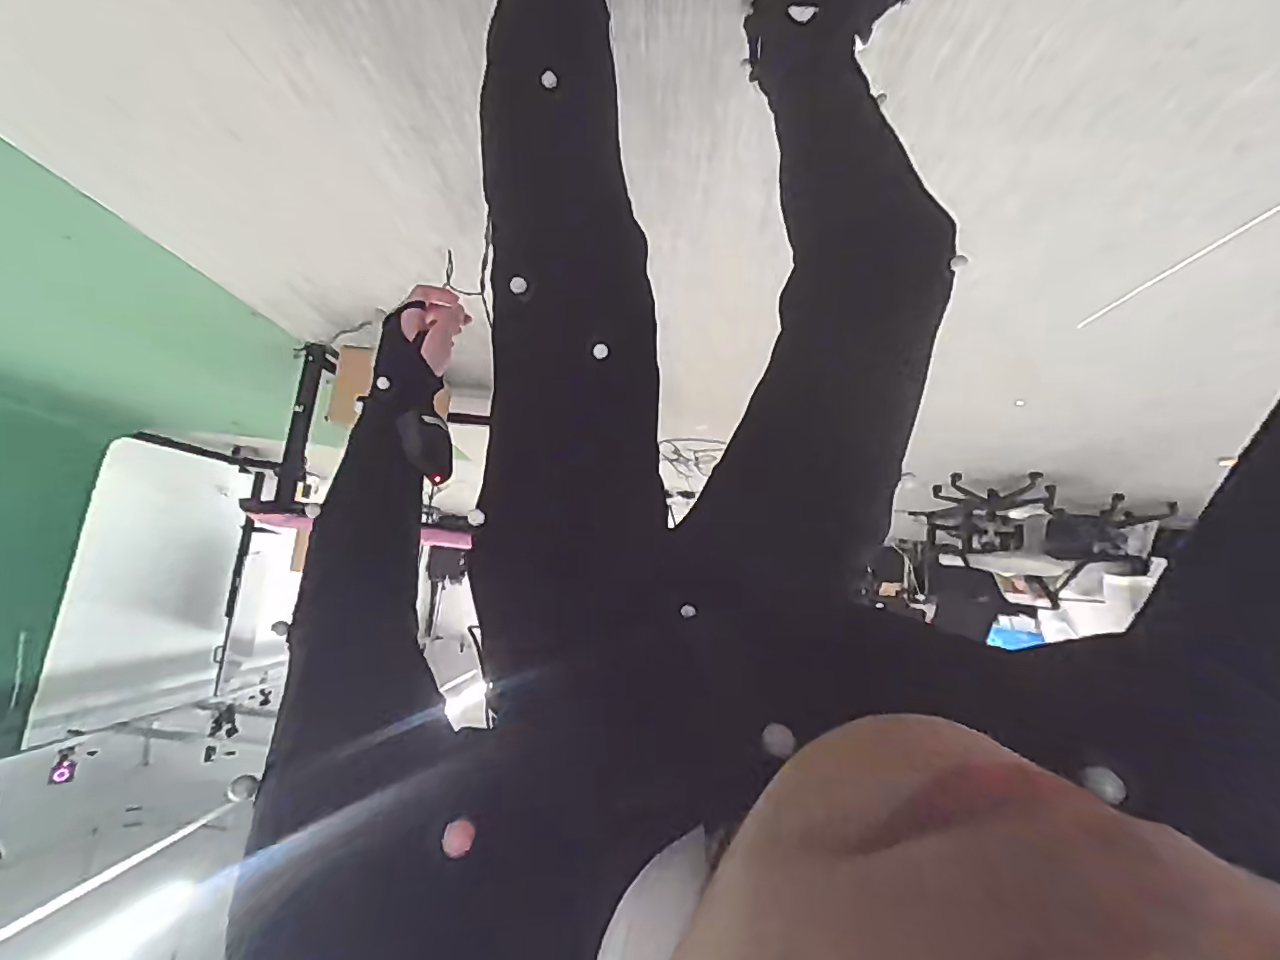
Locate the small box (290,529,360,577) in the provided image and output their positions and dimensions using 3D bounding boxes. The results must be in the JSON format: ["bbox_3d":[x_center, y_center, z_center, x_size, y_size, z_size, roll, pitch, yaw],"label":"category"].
[{"bbox_3d":[-1.219,0.283,2.109,0.168,0.176,0.179,5,172,0],"label":"small box"}]
